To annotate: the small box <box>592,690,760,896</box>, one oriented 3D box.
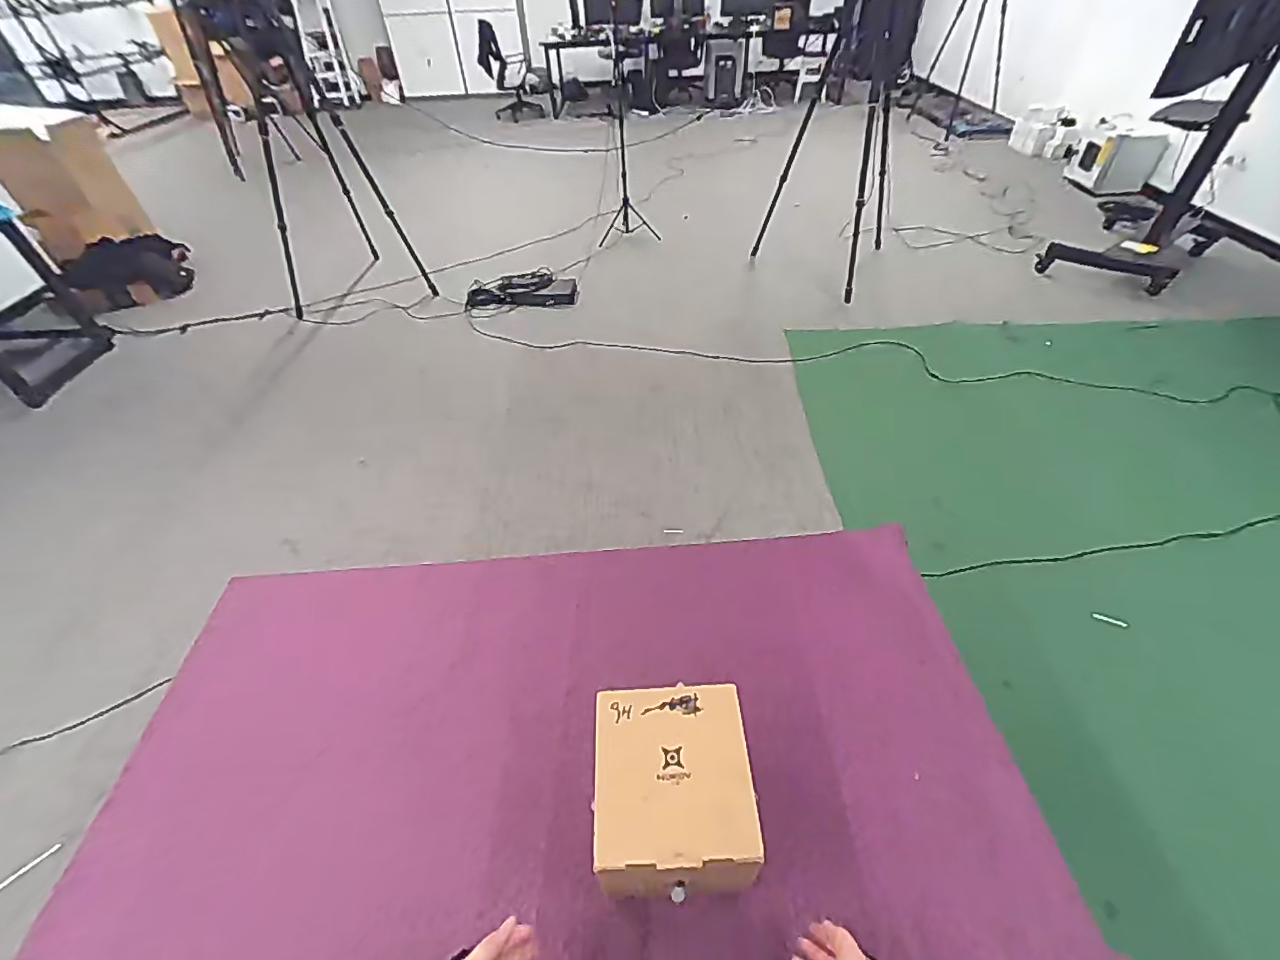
[{"bbox_3d":[0.036,0.367,0.629,0.168,0.176,0.179,-3,46,0],"label":"small box"}]
